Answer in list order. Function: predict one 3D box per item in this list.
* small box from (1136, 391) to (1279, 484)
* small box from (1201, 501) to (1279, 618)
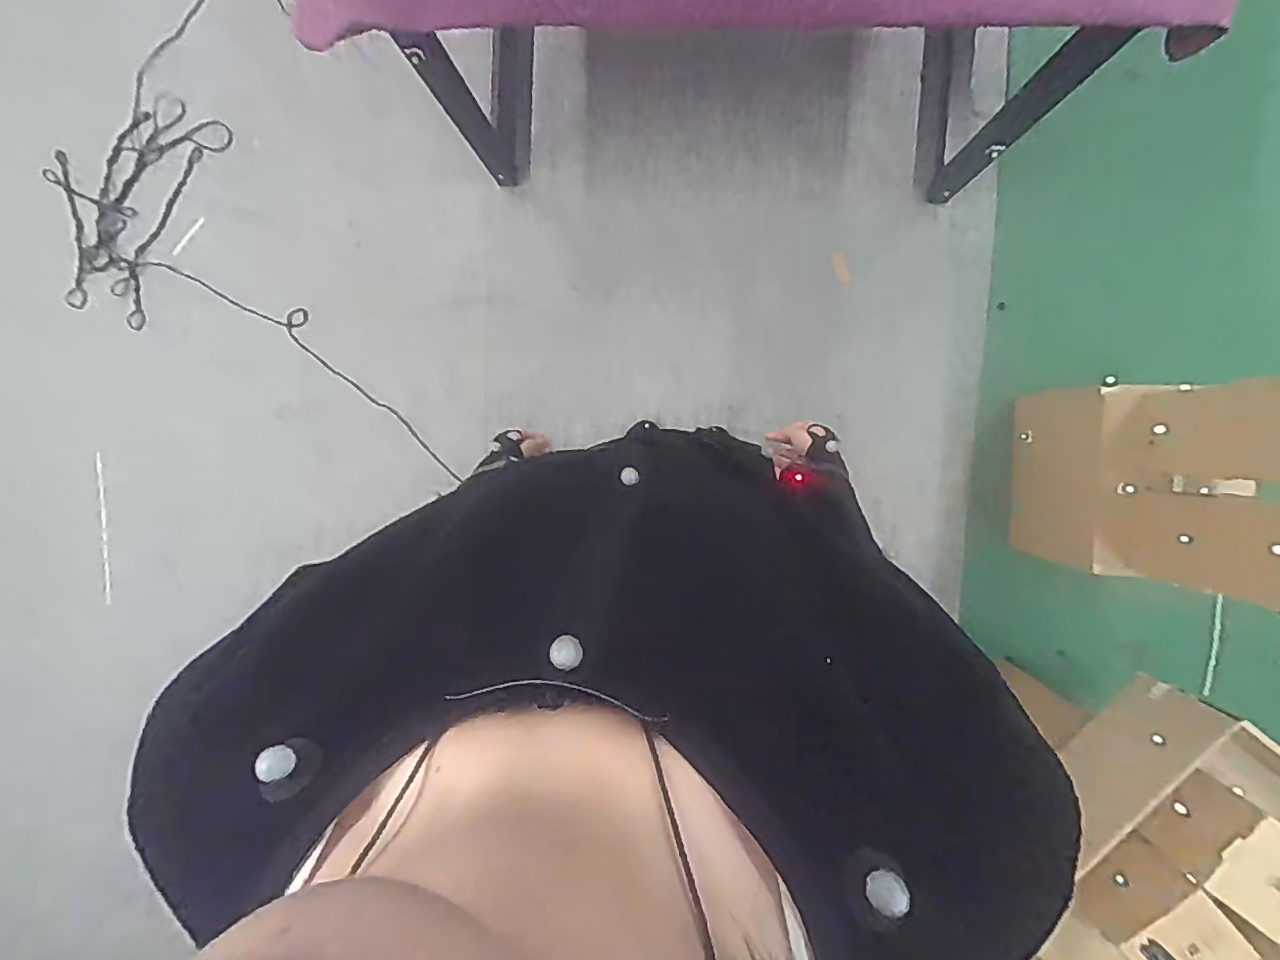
[{"bbox_3d":[1.109,-0.081,1.029,0.179,0.176,0.168,-2,94,4],"label":"small box"},{"bbox_3d":[1.087,0.137,0.882,0.168,0.176,0.179,8,93,5],"label":"small box"}]
